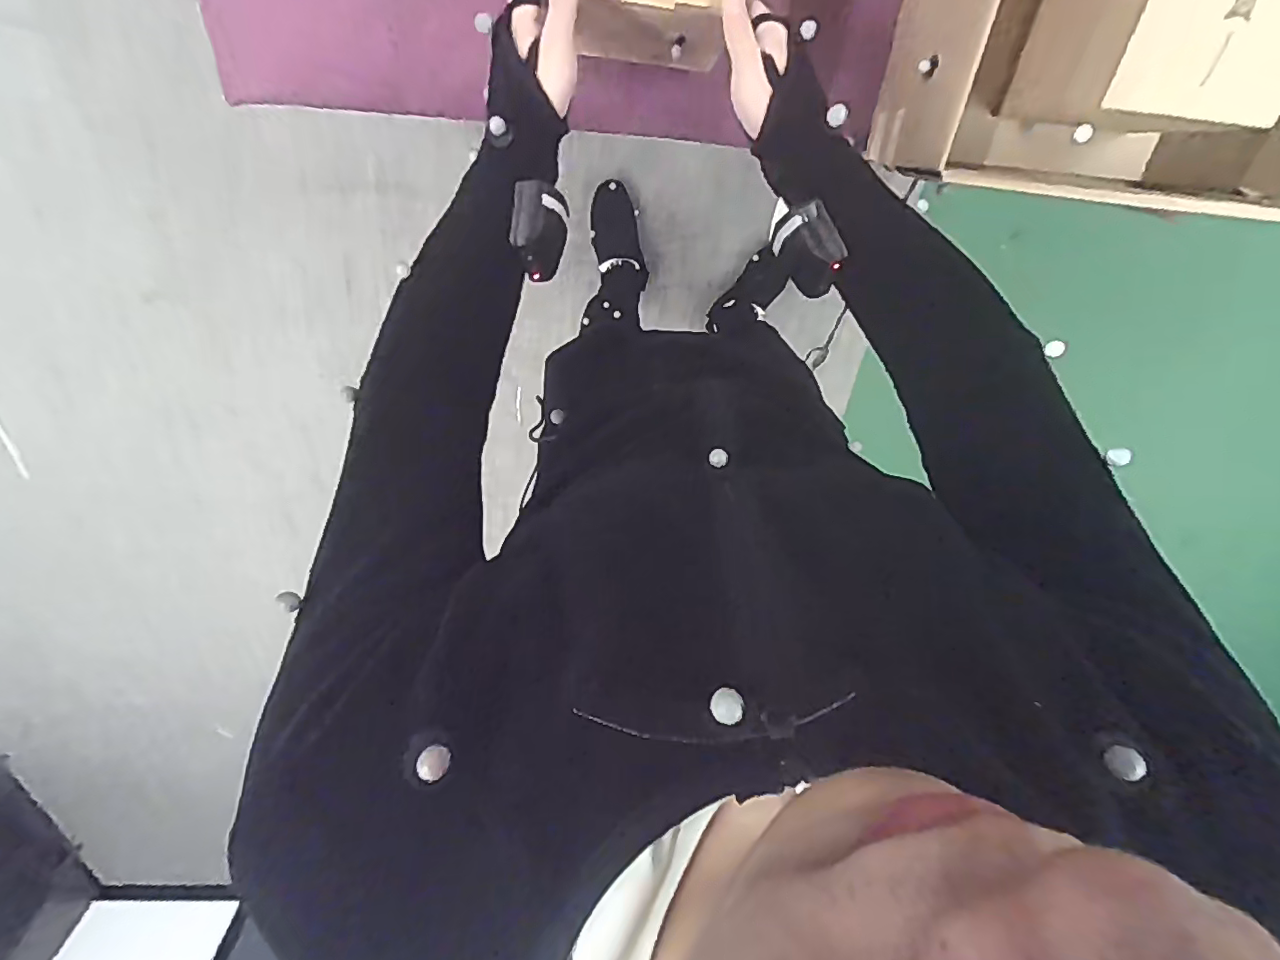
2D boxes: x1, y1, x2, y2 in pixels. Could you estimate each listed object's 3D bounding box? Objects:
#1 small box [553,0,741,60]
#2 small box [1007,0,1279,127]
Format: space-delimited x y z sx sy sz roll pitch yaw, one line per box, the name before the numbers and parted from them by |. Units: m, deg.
small box | 0.010 -0.504 0.476 0.168 0.176 0.179 4 113 -6
small box | 0.492 -0.443 0.502 0.168 0.176 0.179 5 121 -3
